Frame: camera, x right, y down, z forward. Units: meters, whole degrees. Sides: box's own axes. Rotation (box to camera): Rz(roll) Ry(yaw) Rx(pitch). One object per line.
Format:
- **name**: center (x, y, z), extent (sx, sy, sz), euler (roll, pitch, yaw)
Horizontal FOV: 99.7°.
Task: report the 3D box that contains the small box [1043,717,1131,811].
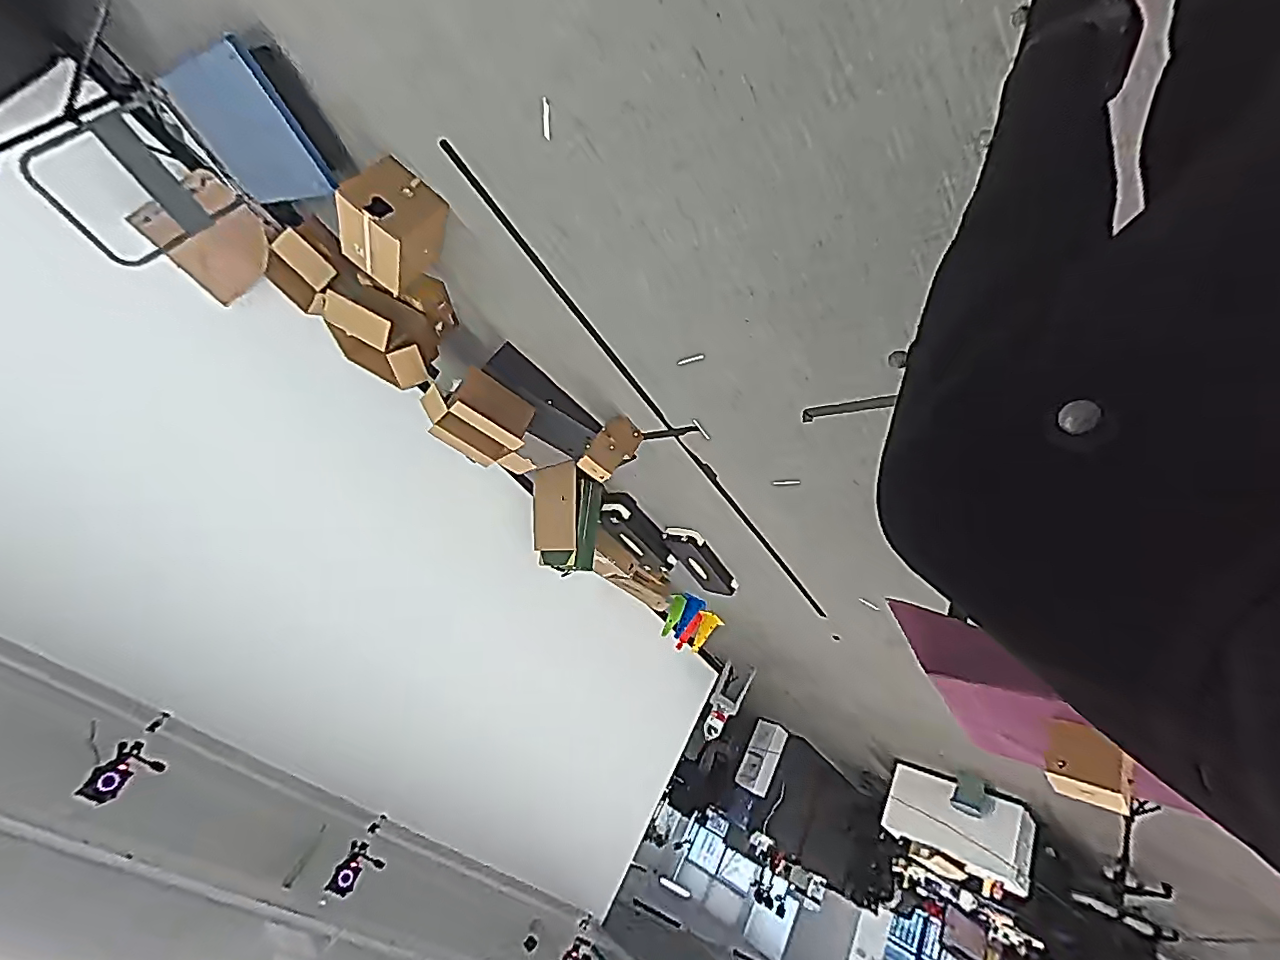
- **small box**: center (1.308, 0.820, 1.578), extent (0.179, 0.176, 0.168), euler (-2, 138, 49)
